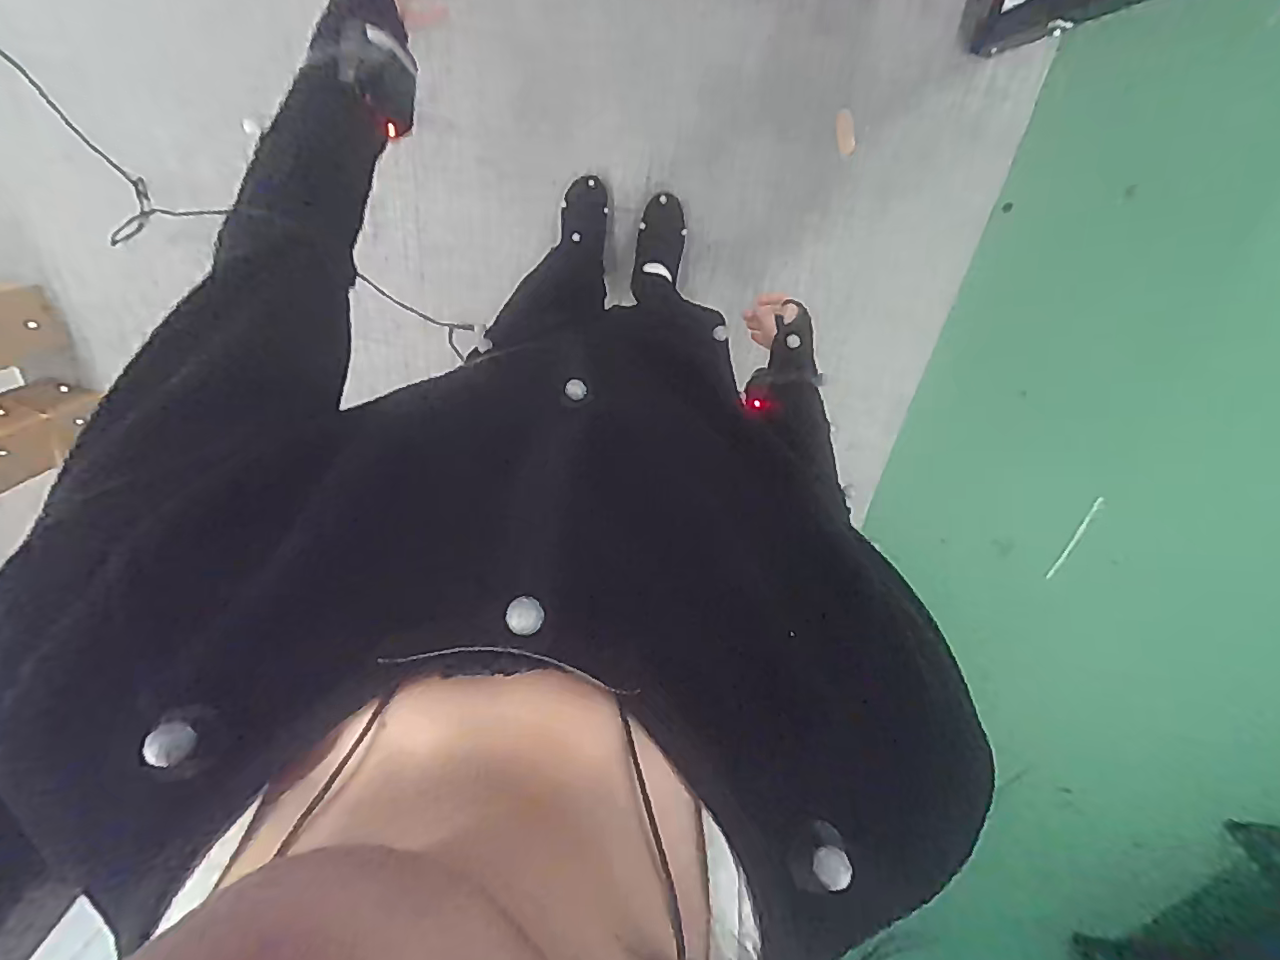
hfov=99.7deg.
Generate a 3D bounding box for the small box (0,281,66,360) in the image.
[{"bbox_3d":[-1.649,-0.413,1.386,0.179,0.176,0.168,1,120,2],"label":"small box"}]

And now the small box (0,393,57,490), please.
[{"bbox_3d":[-1.661,-0.099,1.384,0.168,0.176,0.179,23,118,-10],"label":"small box"}]
